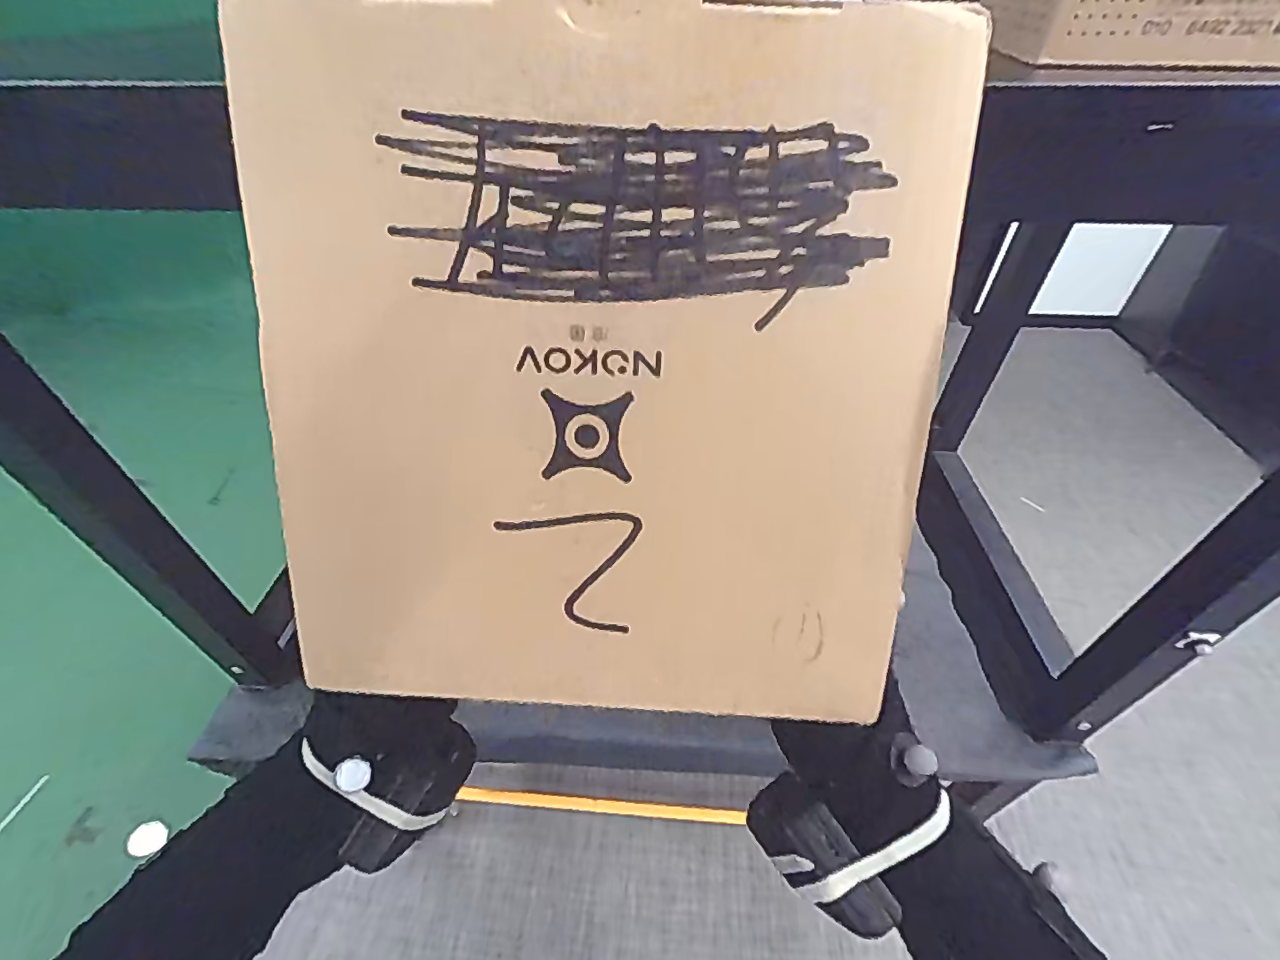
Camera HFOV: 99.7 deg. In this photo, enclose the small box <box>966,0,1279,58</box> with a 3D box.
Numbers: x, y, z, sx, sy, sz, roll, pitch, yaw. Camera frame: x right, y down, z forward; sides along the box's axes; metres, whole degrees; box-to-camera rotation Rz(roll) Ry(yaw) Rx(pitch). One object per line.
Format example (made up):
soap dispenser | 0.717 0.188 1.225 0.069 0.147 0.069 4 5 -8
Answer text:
small box | 0.299 -0.329 0.278 0.168 0.176 0.179 9 43 10
